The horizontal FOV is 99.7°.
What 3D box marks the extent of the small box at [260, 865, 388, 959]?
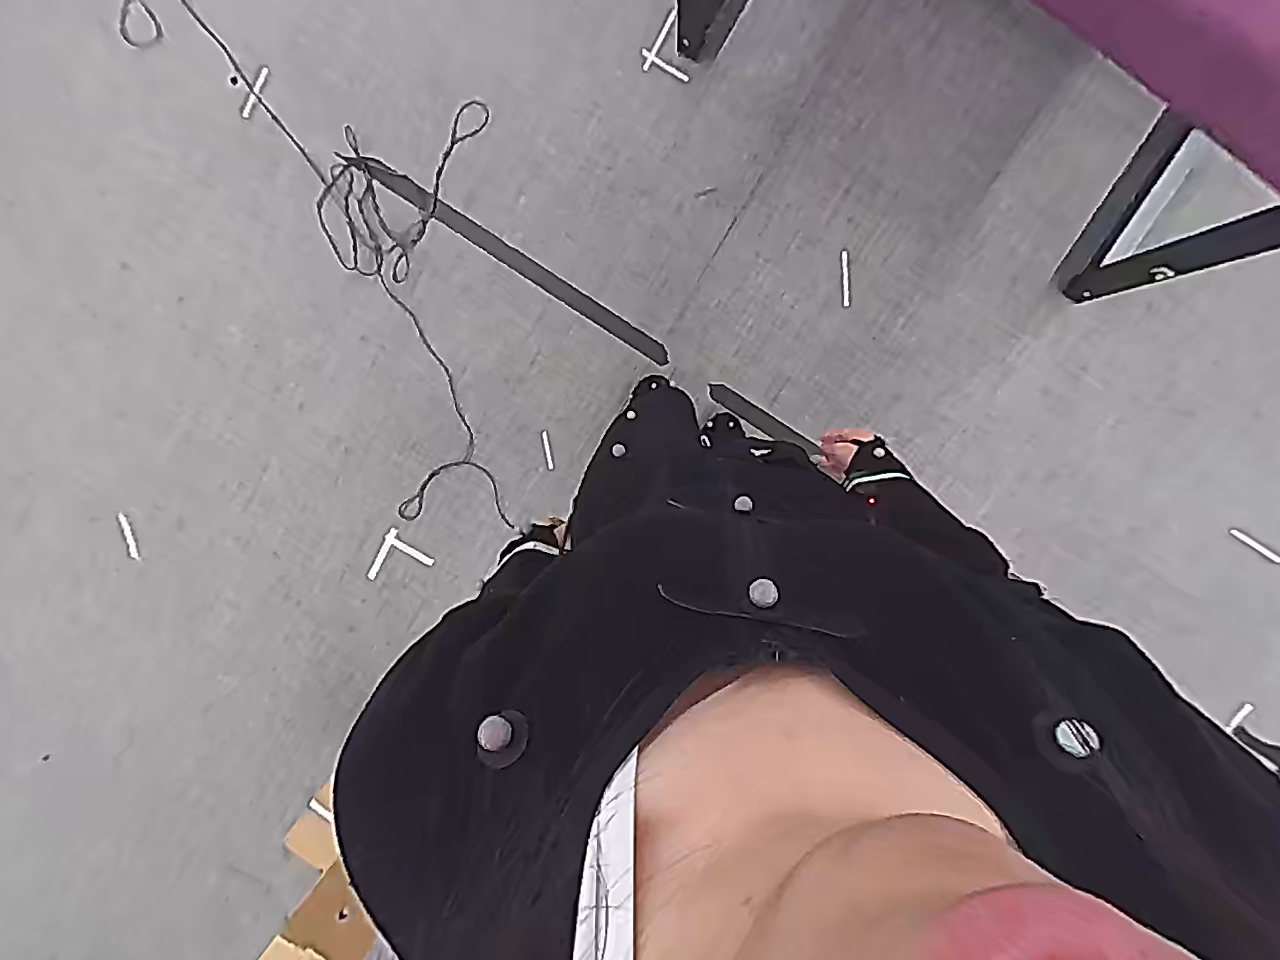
[{"bbox_3d":[-0.651,0.947,1.104,0.168,0.176,0.179,37,98,-1],"label":"small box"}]
